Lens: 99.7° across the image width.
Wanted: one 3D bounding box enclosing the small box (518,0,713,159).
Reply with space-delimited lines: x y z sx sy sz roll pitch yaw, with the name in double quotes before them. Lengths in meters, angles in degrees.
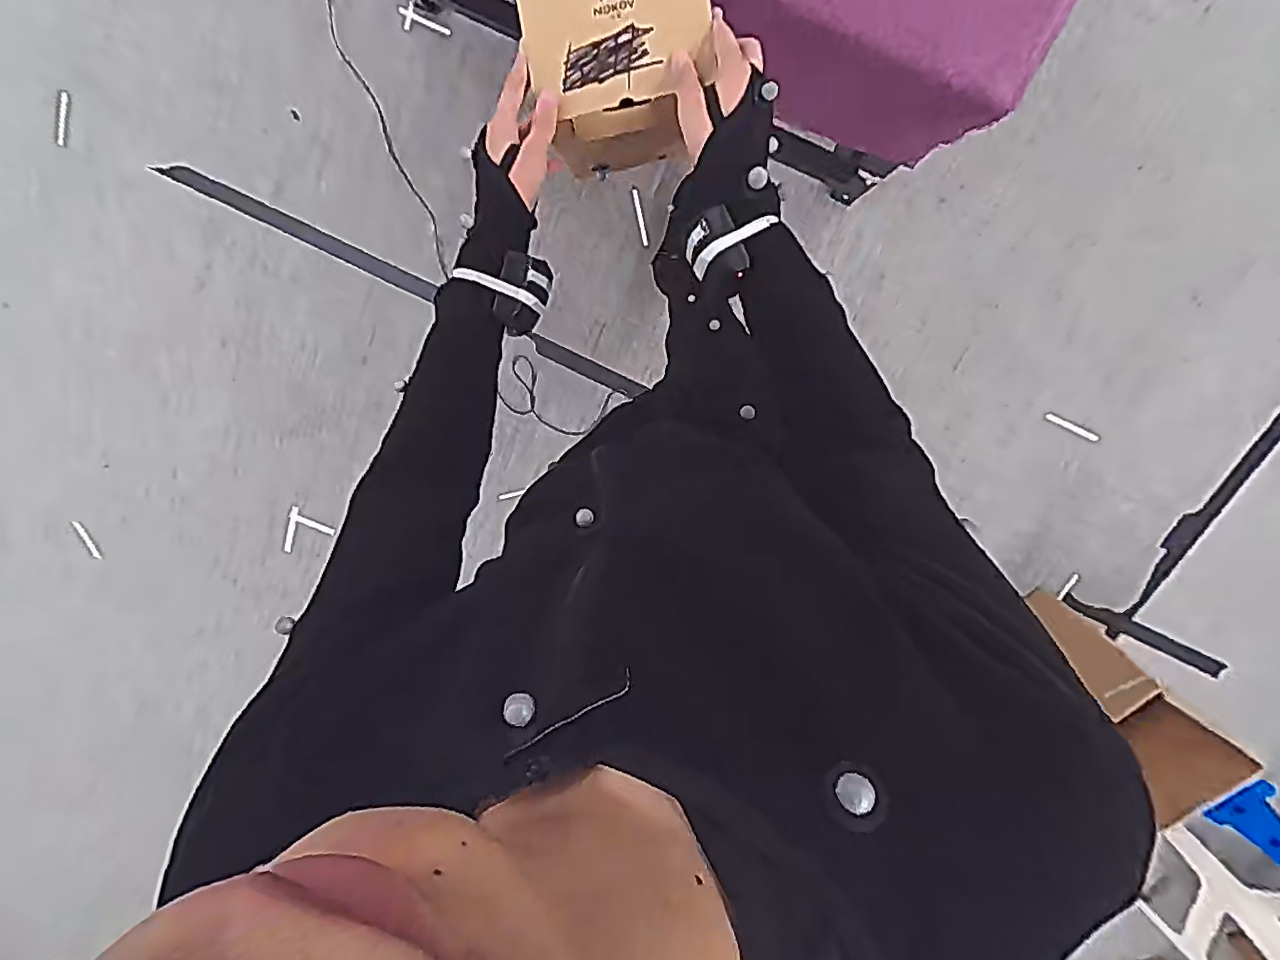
"small box" -0.019 -0.445 0.539 0.168 0.176 0.179 -8 103 7
